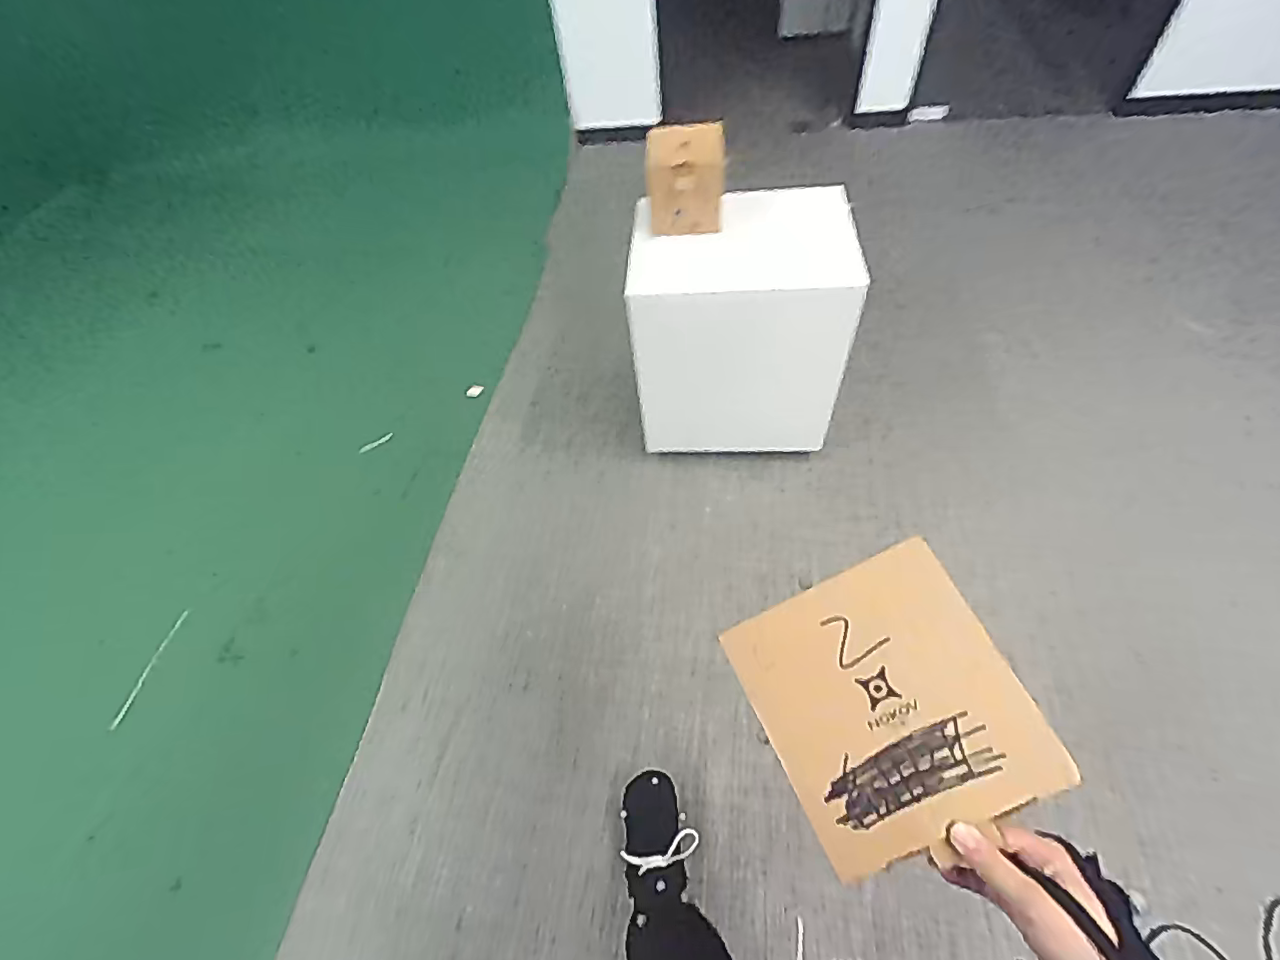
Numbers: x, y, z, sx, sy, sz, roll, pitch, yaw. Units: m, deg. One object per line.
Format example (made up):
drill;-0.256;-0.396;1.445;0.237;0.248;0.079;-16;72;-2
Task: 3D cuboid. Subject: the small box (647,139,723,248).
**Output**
small box;0.107;-0.673;1.273;0.168;0.176;0.179;-1;56;6
